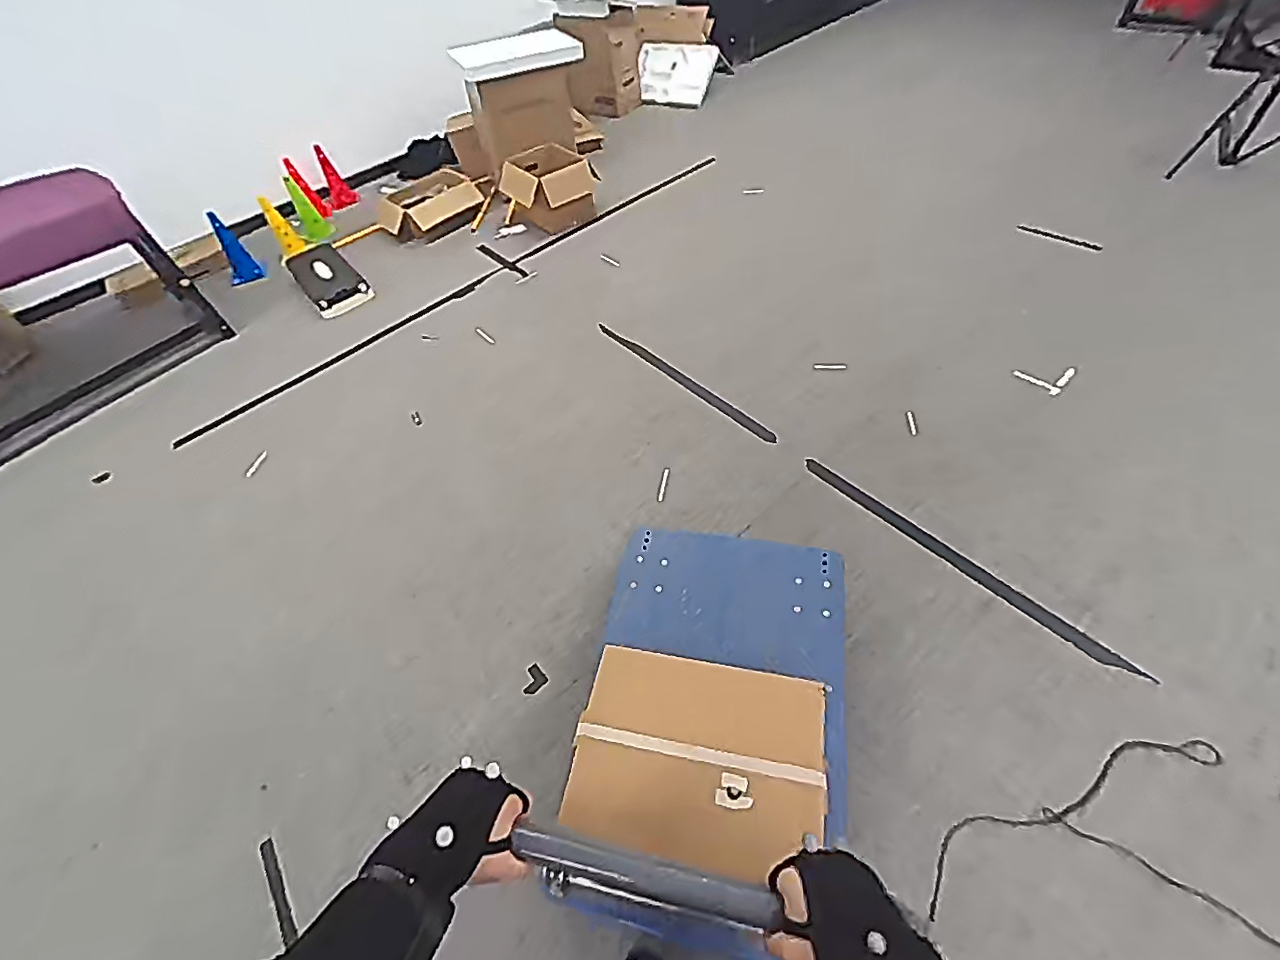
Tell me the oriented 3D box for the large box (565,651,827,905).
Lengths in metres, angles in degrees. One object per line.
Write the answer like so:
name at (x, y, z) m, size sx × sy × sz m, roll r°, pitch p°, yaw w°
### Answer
large box at (0.114, 0.554, 1.012) m, size 0.408 × 0.320 × 0.320 m, roll 6°, pitch 52°, yaw 12°
